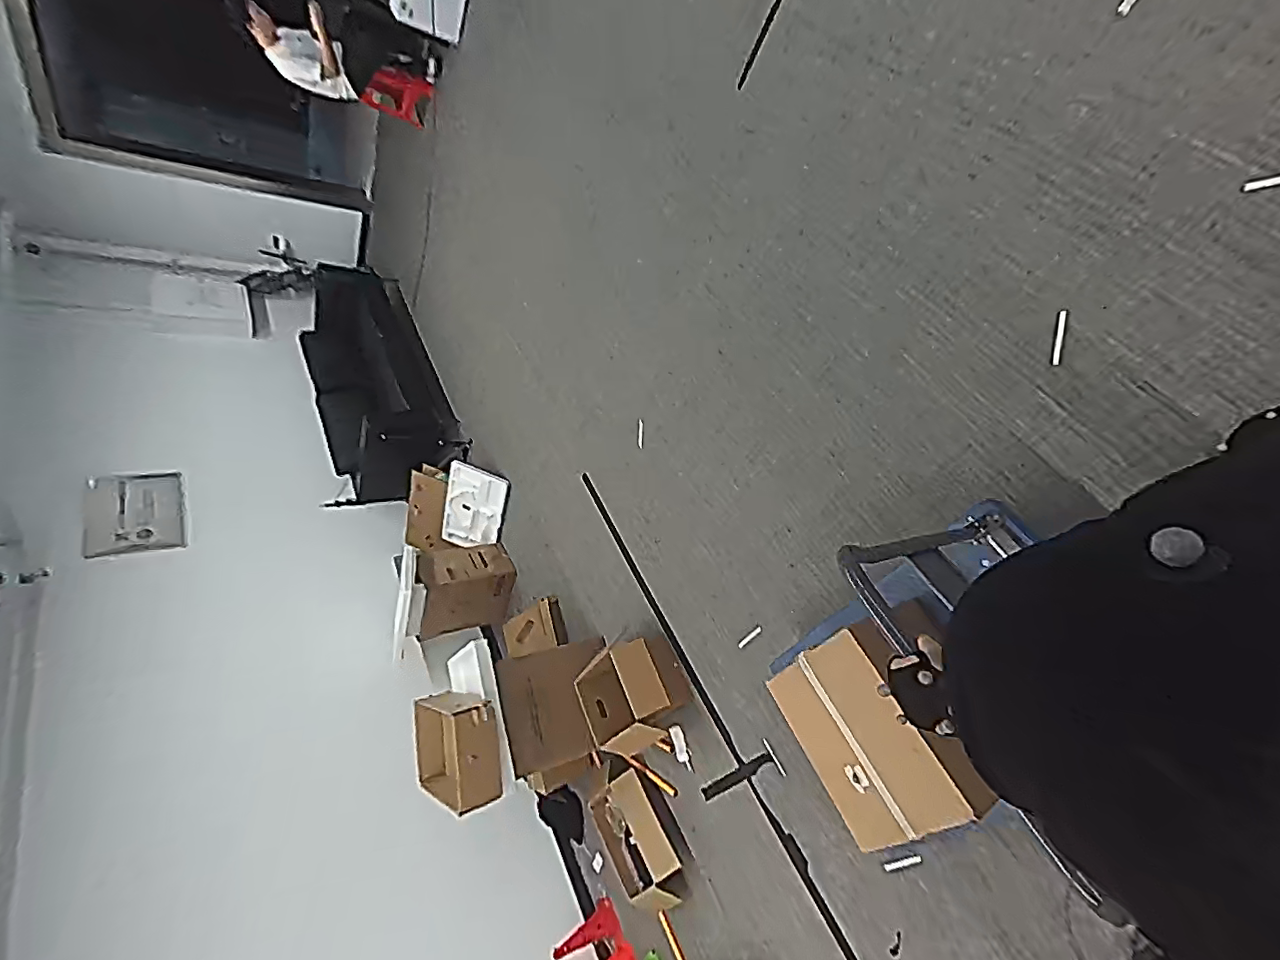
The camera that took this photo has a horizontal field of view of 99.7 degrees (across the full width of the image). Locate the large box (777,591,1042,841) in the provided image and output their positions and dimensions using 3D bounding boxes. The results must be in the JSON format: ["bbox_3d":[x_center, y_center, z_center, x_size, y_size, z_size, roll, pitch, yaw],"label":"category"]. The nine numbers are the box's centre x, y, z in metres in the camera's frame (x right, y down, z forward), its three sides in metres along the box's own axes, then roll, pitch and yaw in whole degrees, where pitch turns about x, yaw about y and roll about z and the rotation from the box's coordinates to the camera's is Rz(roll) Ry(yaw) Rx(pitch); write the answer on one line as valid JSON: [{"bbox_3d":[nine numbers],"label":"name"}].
[{"bbox_3d":[0.615,0.534,1.275,0.408,0.320,0.320,60,137,28],"label":"large box"}]
